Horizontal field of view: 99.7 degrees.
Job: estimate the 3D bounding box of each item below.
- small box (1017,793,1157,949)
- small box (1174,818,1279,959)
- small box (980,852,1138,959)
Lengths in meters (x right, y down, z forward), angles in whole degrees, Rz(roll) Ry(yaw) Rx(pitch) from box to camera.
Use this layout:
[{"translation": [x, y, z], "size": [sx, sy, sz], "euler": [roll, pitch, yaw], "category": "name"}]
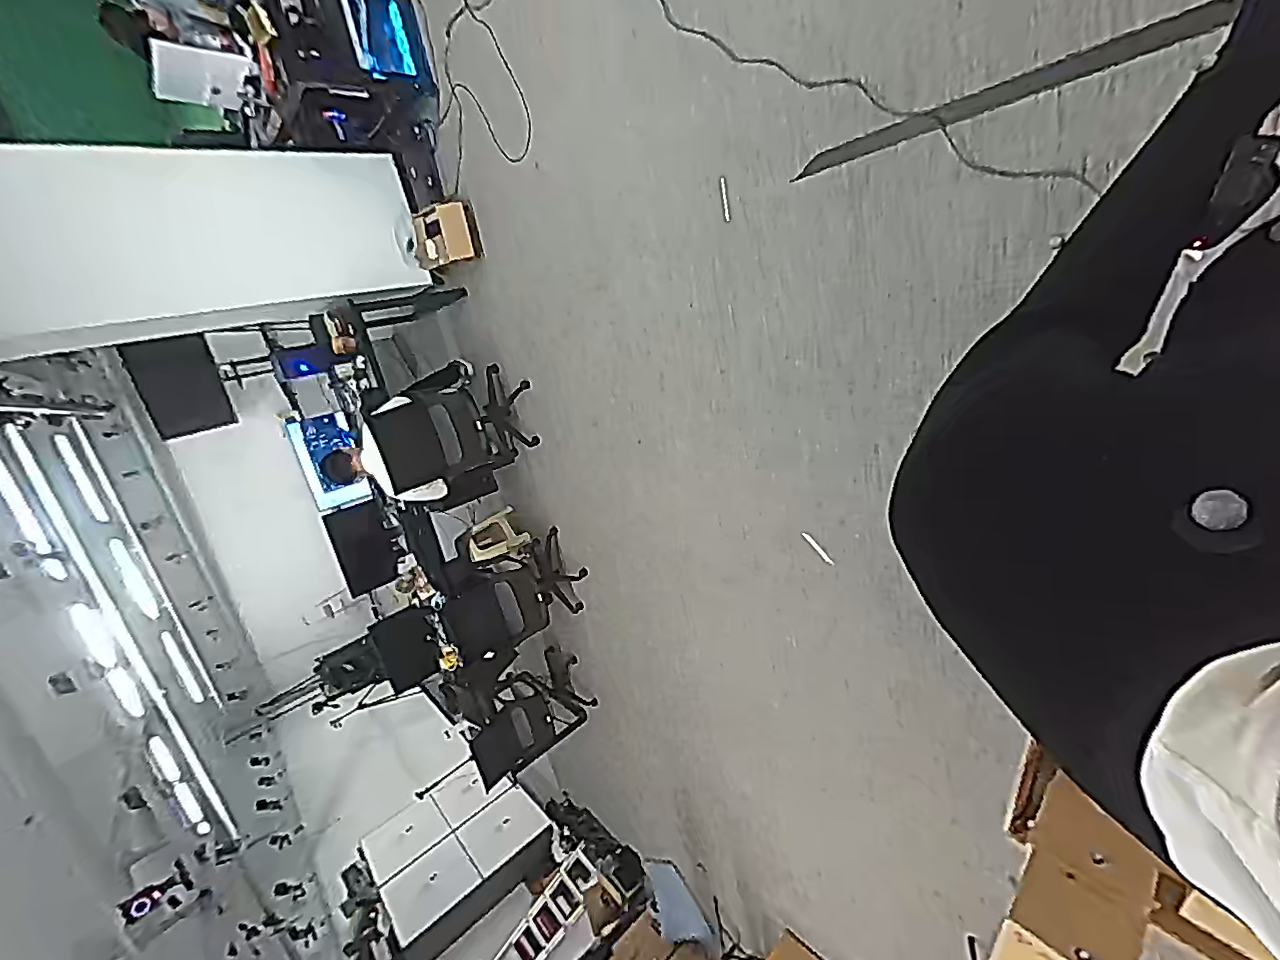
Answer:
[{"translation": [0.845, 0.749, 1.030], "size": [0.179, 0.176, 0.168], "euler": [16, 123, 46], "category": "small box"}, {"translation": [1.116, 0.751, 0.967], "size": [0.179, 0.176, 0.168], "euler": [23, 128, 45], "category": "small box"}, {"translation": [0.723, 0.809, 0.938], "size": [0.168, 0.176, 0.179], "euler": [22, 128, 42], "category": "small box"}]
